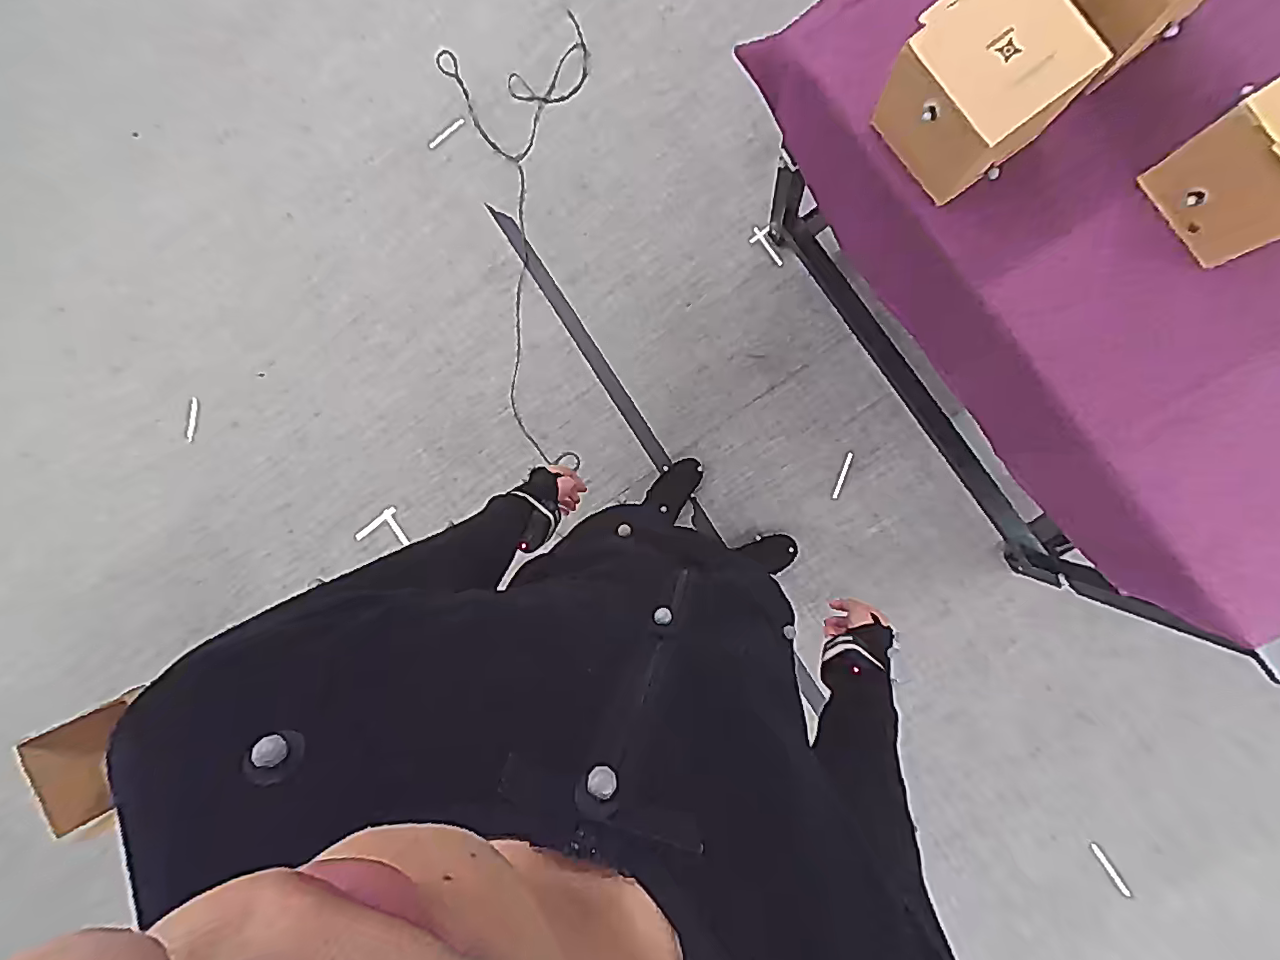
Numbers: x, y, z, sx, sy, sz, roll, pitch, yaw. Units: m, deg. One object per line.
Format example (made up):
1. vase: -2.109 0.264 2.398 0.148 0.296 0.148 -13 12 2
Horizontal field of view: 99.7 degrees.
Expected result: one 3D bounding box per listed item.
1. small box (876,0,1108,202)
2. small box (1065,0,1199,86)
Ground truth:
1. small box: 0.456 -0.528 0.738 0.168 0.176 0.179 -35 86 9
2. small box: 0.644 -0.677 0.704 0.168 0.176 0.179 -38 86 9
